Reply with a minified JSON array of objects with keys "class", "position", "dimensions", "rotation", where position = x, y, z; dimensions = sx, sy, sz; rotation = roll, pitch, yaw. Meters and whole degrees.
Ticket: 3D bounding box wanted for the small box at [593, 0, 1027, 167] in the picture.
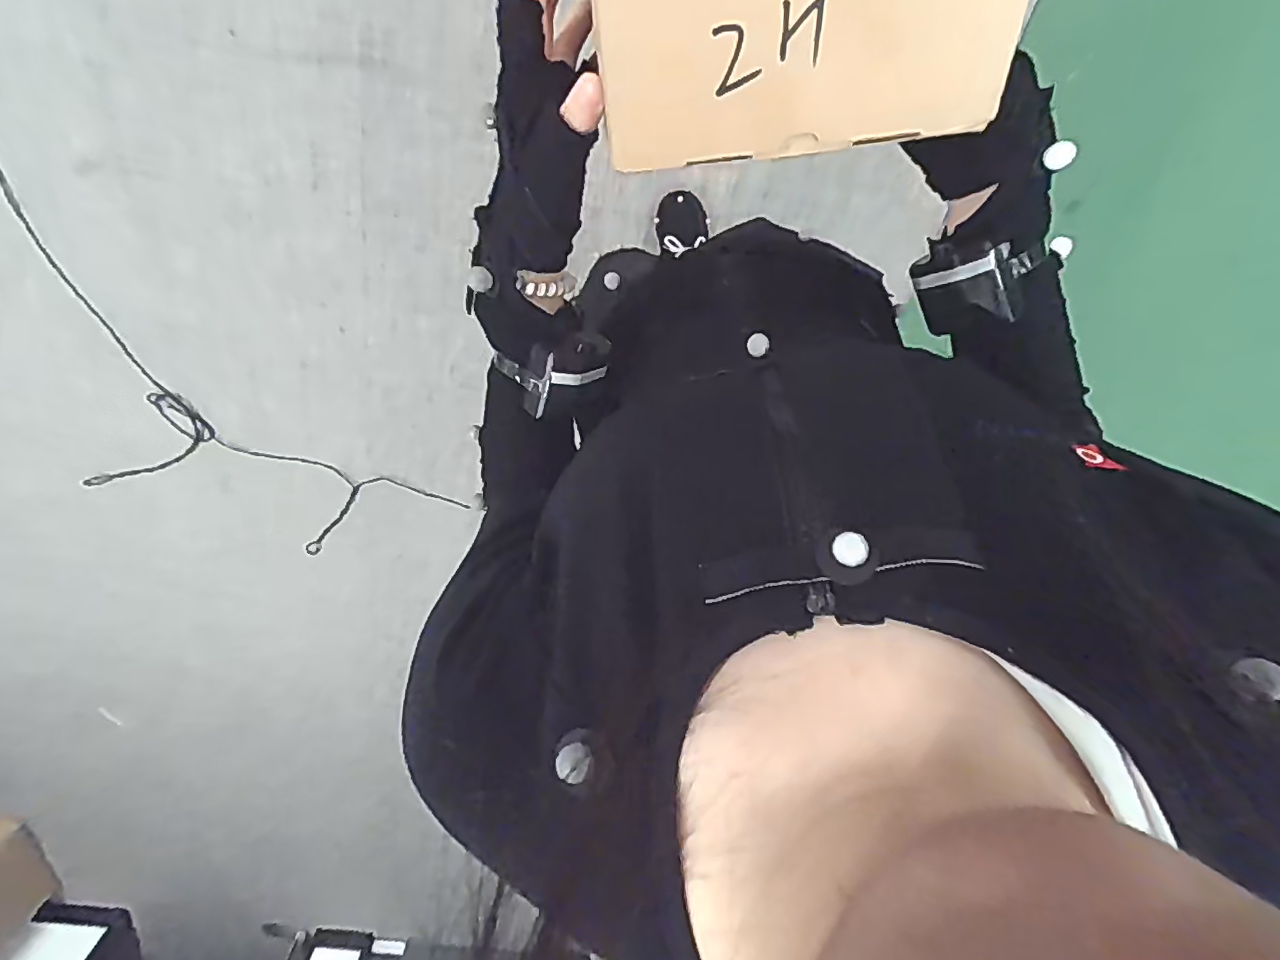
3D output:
[{"class":"small box","position":[0.058,-0.263,0.241],"dimensions":[0.168,0.176,0.179],"rotation":[-7,131,1]}]
